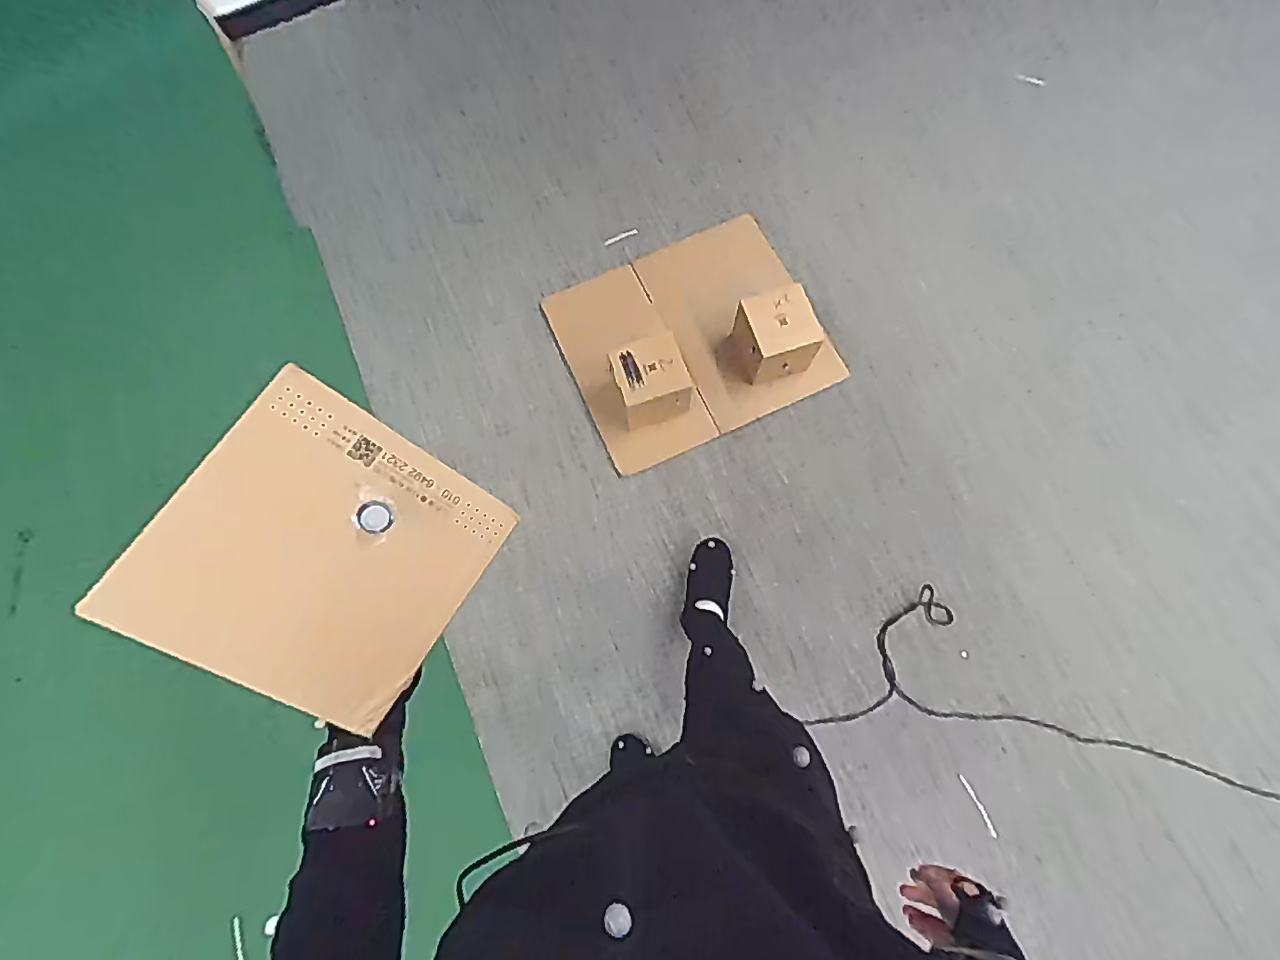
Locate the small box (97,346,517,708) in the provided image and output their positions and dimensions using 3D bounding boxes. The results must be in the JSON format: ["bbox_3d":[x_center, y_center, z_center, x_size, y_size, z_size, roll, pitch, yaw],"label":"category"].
[{"bbox_3d":[-0.214,0.028,0.401,0.168,0.179,0.176,37,75,-21],"label":"small box"}]

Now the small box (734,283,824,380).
[{"bbox_3d":[0.361,-0.383,1.434,0.168,0.176,0.179,-16,74,-3],"label":"small box"}]
